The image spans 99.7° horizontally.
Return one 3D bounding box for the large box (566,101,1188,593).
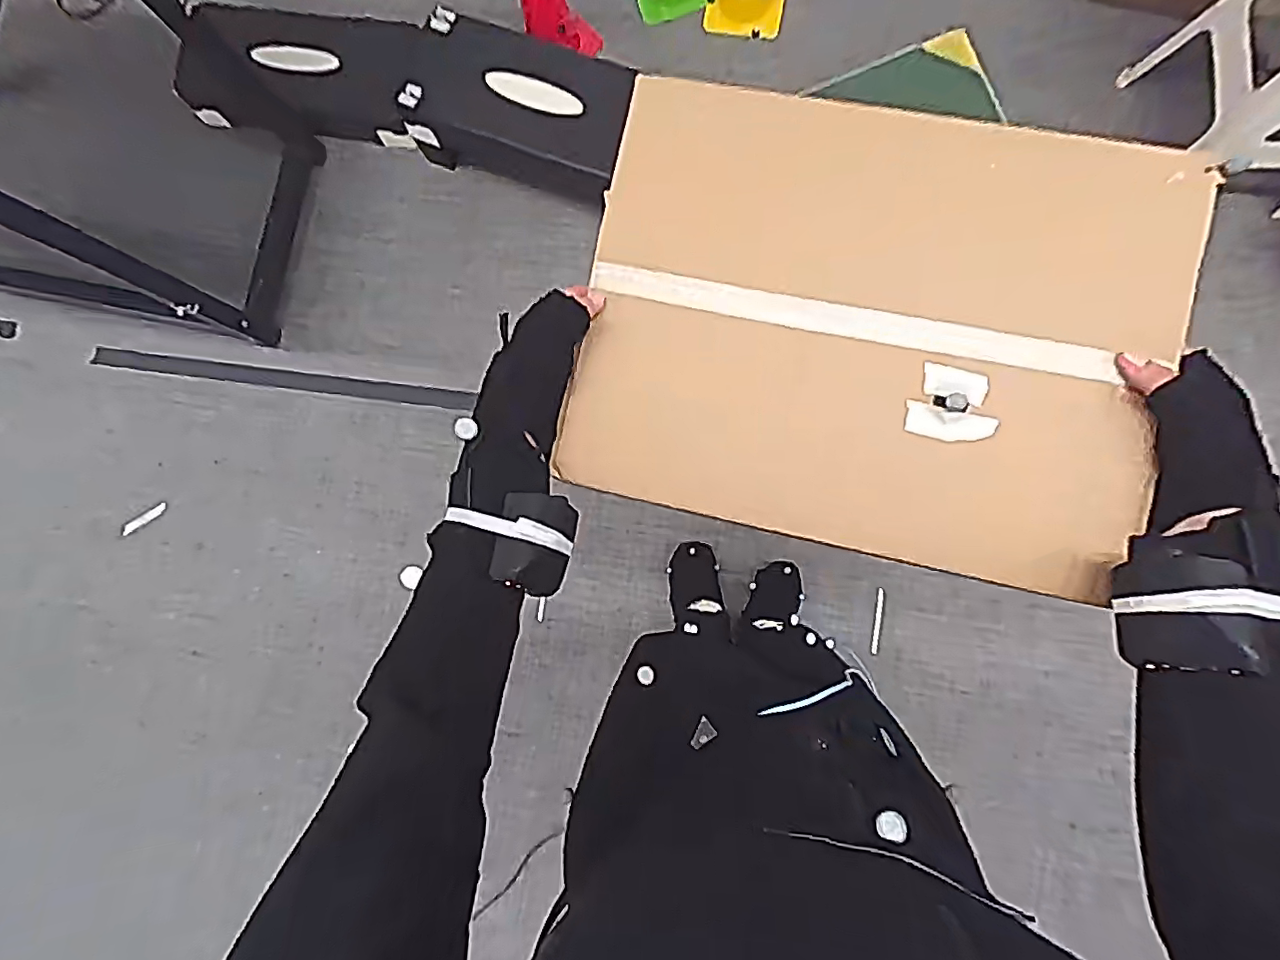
[{"bbox_3d":[0.176,-0.103,0.546,0.408,0.320,0.320,13,90,6],"label":"large box"}]
